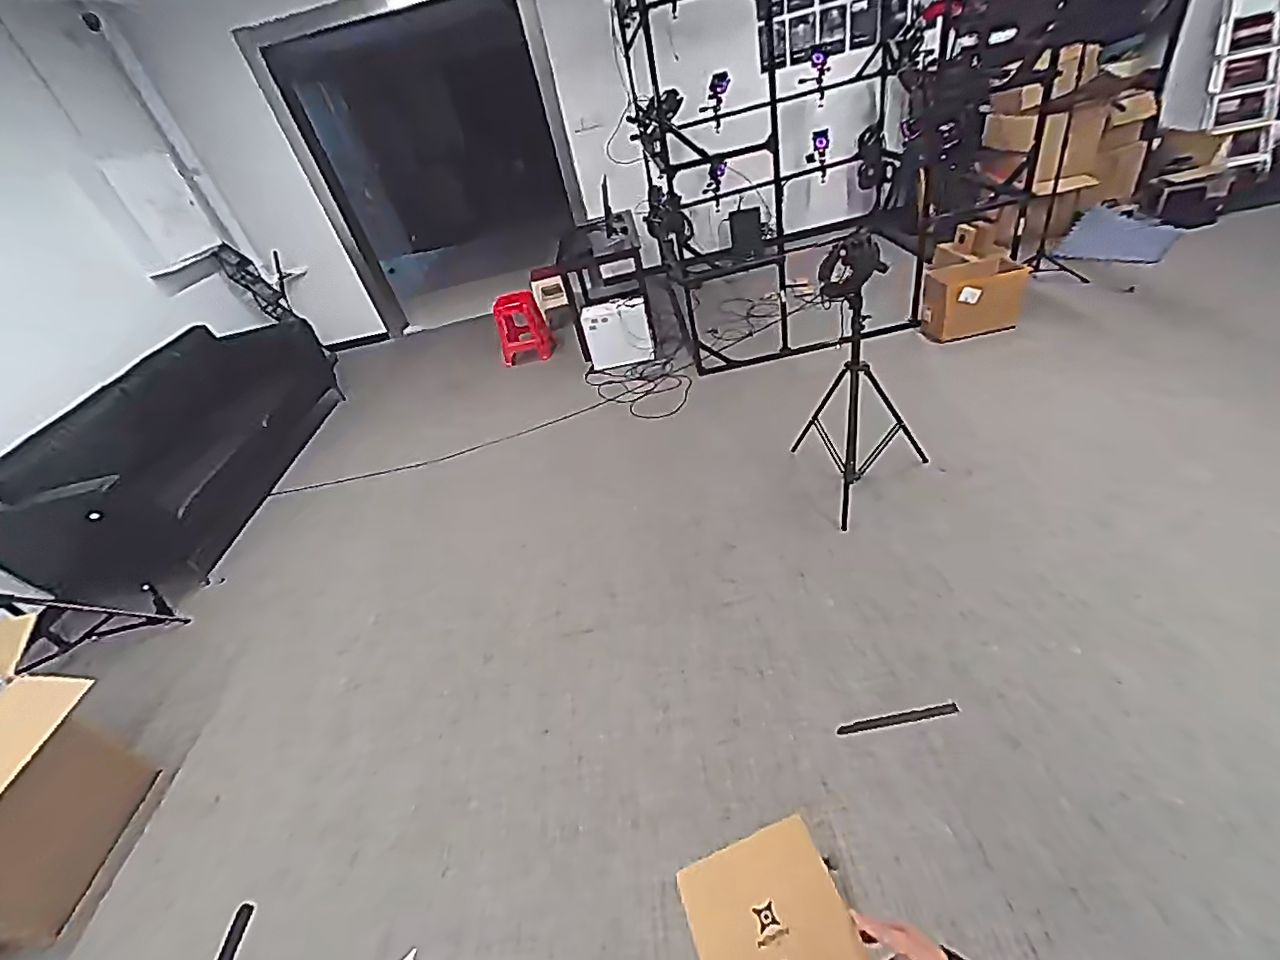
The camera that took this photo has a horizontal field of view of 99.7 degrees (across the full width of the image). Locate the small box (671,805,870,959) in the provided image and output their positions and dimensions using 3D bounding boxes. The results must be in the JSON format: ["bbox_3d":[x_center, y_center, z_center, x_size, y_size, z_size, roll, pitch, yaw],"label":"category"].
[{"bbox_3d":[0.155,0.519,0.607,0.168,0.176,0.179,-26,32,-1],"label":"small box"}]
